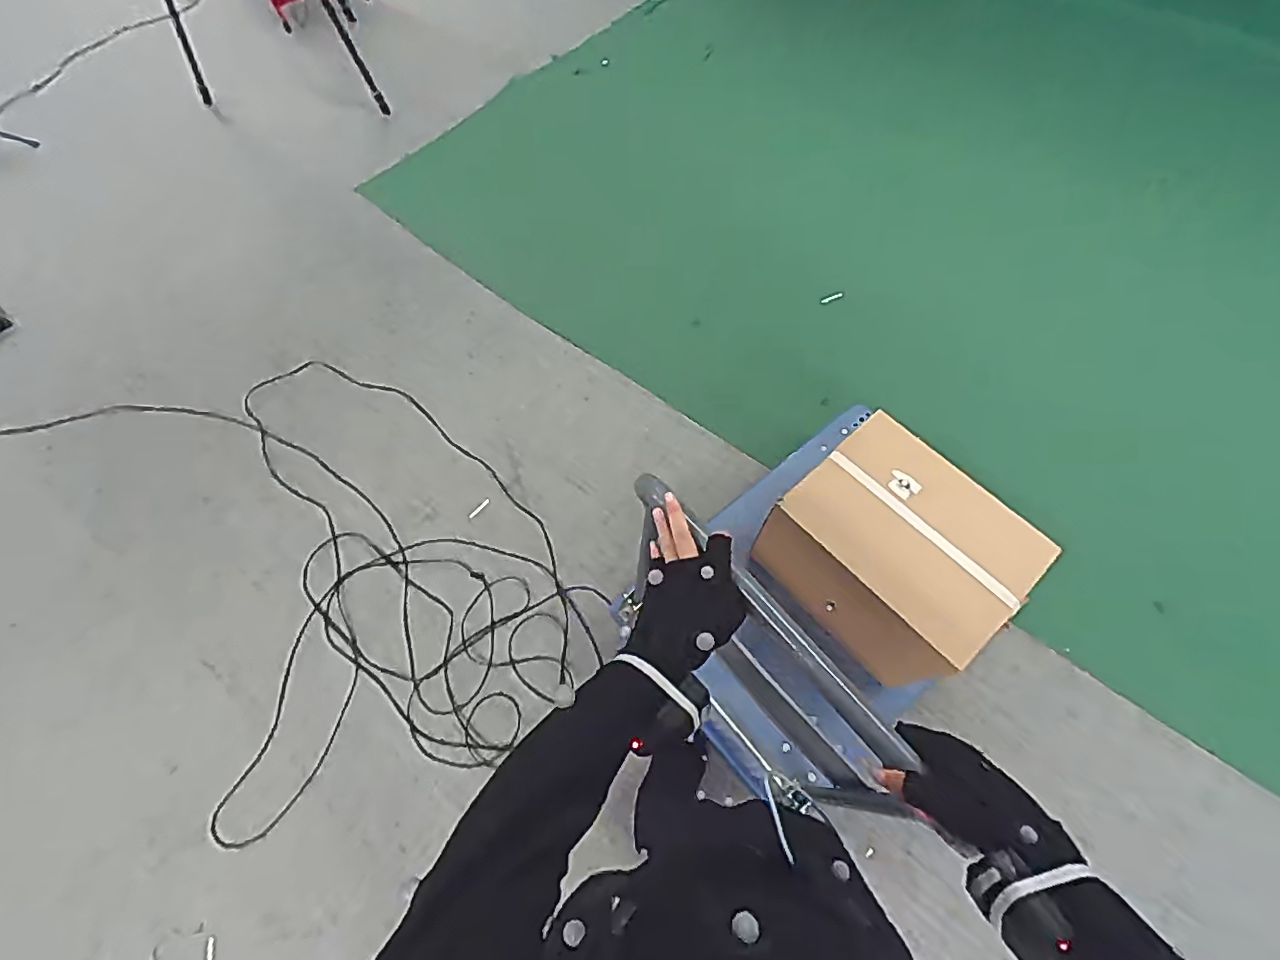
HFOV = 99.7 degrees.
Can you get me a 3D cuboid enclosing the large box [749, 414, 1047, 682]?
[{"bbox_3d":[0.496,0.150,1.130,0.320,0.320,0.408,-39,69,-17],"label":"large box"}]
